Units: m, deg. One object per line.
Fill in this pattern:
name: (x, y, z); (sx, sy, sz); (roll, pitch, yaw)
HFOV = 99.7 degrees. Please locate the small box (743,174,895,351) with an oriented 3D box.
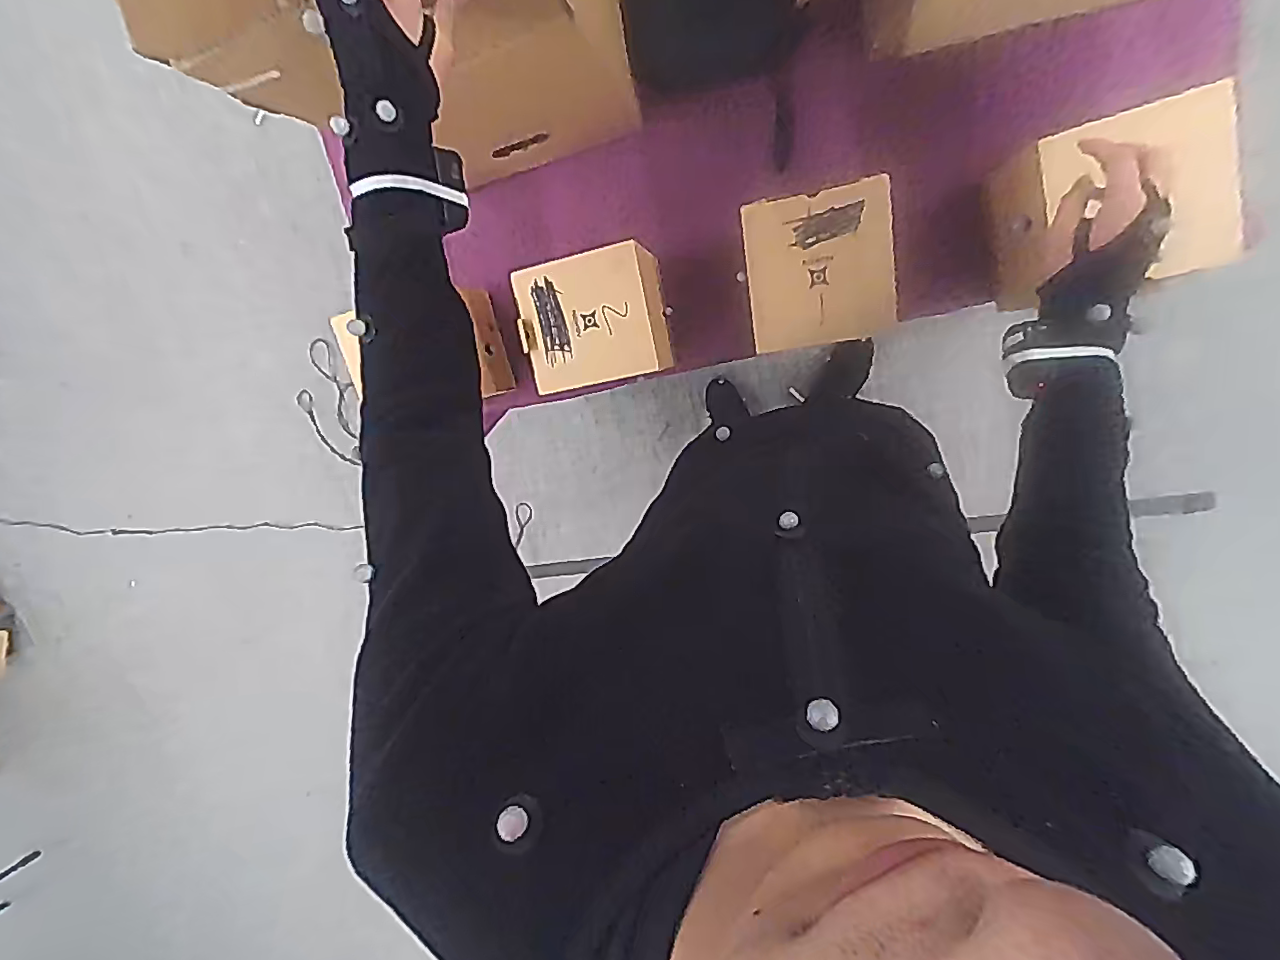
small box: (0.226, -0.270, 0.711); (0.168, 0.176, 0.179); (-6, 104, 15)

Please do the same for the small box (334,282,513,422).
small box: (-0.331, -0.199, 0.858); (0.179, 0.176, 0.168); (-13, 102, 14)

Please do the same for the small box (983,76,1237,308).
small box: (0.526, -0.311, 0.630); (0.168, 0.176, 0.179); (-12, 102, 17)
